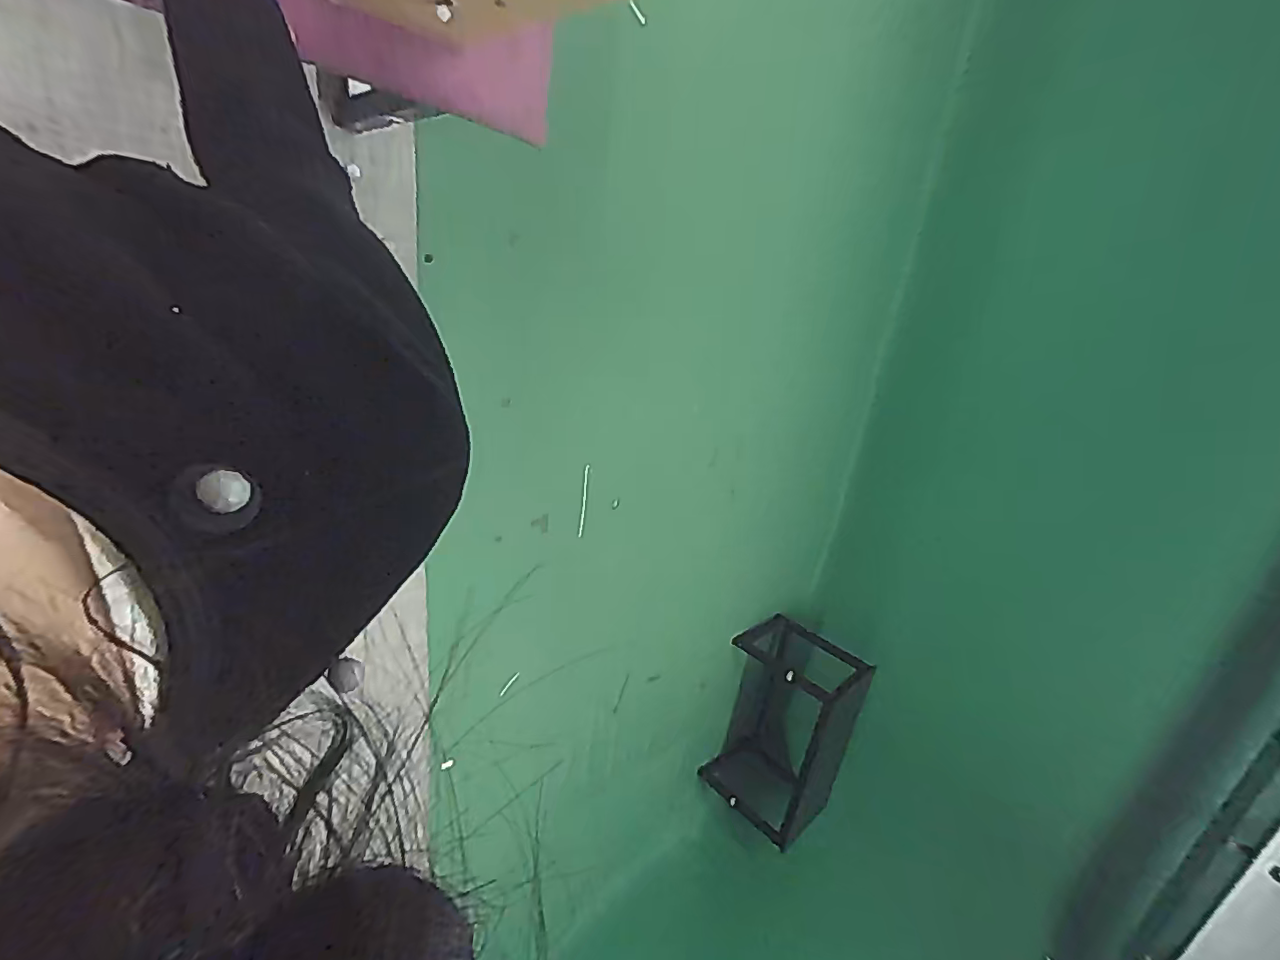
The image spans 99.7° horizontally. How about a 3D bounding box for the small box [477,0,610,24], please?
[{"bbox_3d":[-0.105,-0.541,0.463,0.168,0.176,0.179,-12,118,-40],"label":"small box"}]
